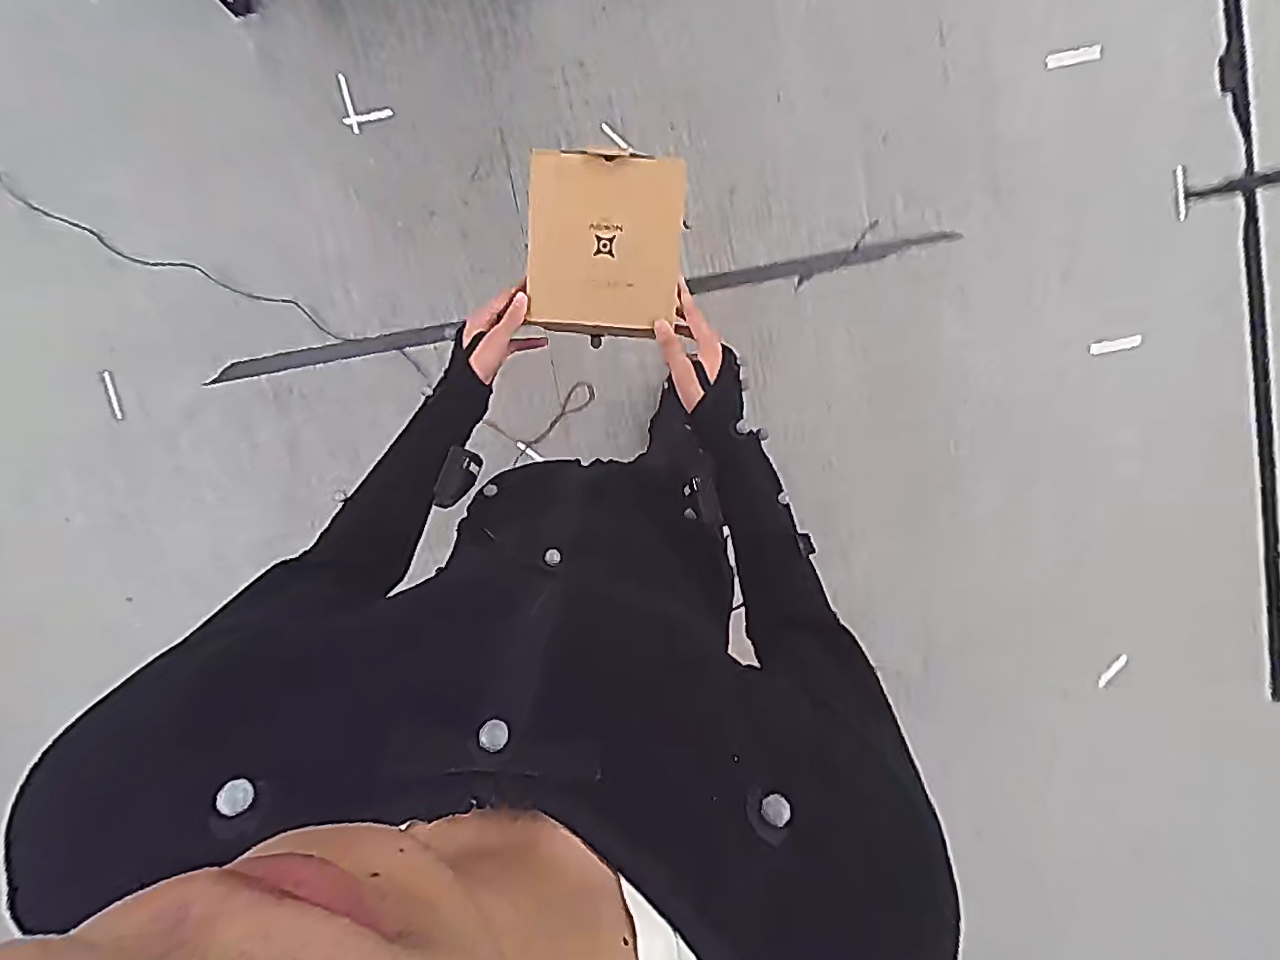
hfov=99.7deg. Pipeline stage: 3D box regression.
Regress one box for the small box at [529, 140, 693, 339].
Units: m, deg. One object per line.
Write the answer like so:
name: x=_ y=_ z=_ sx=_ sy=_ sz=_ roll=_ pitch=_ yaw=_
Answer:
small box: x=-0.031 y=-0.272 z=0.649 sx=0.168 sy=0.176 sz=0.179 roll=4 pitch=100 yaw=1
